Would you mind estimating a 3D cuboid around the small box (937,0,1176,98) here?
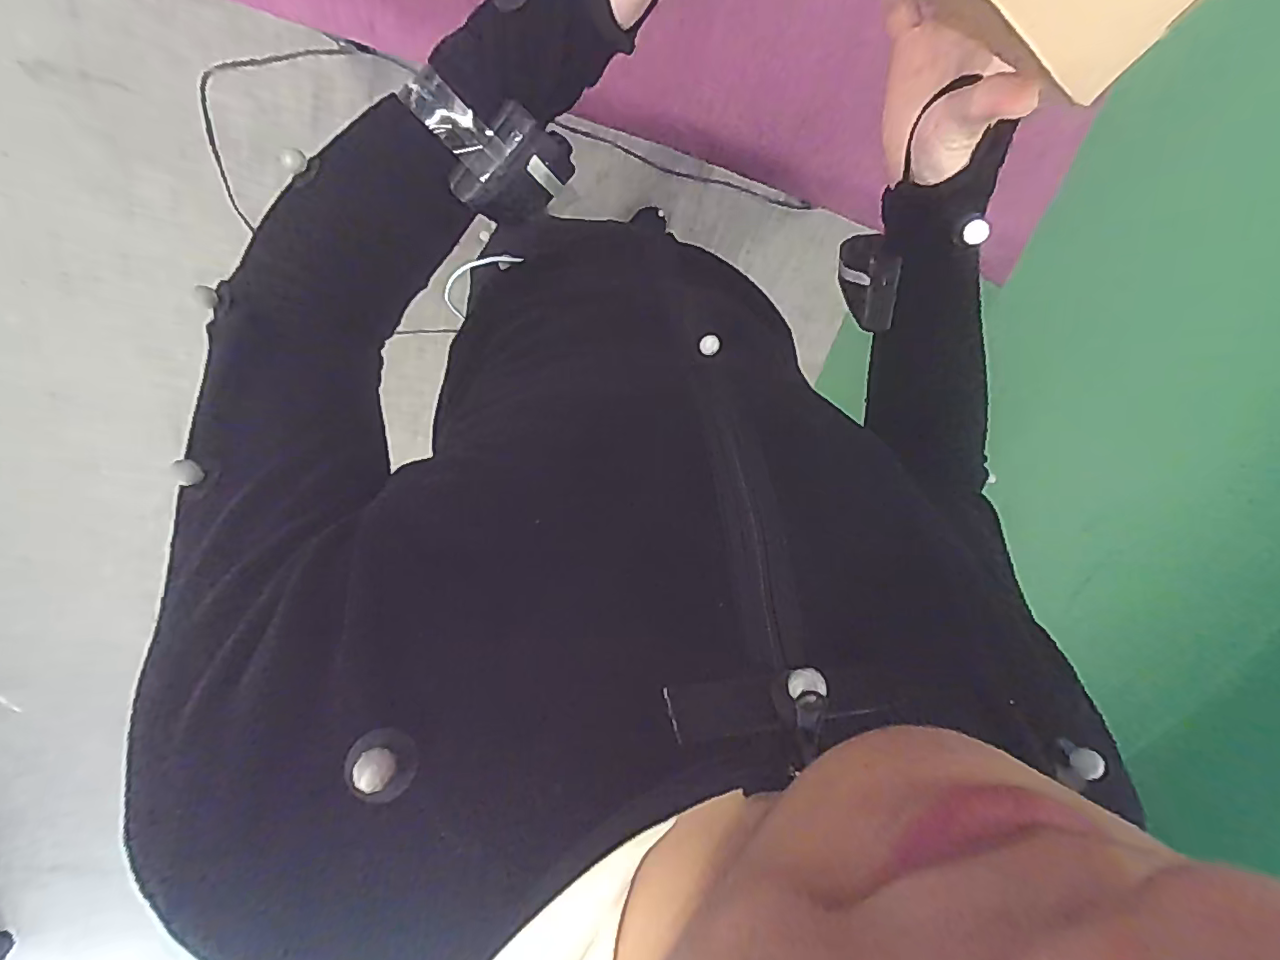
[{"bbox_3d":[0.154,-0.296,0.192,0.179,0.176,0.168,19,138,-26],"label":"small box"}]
